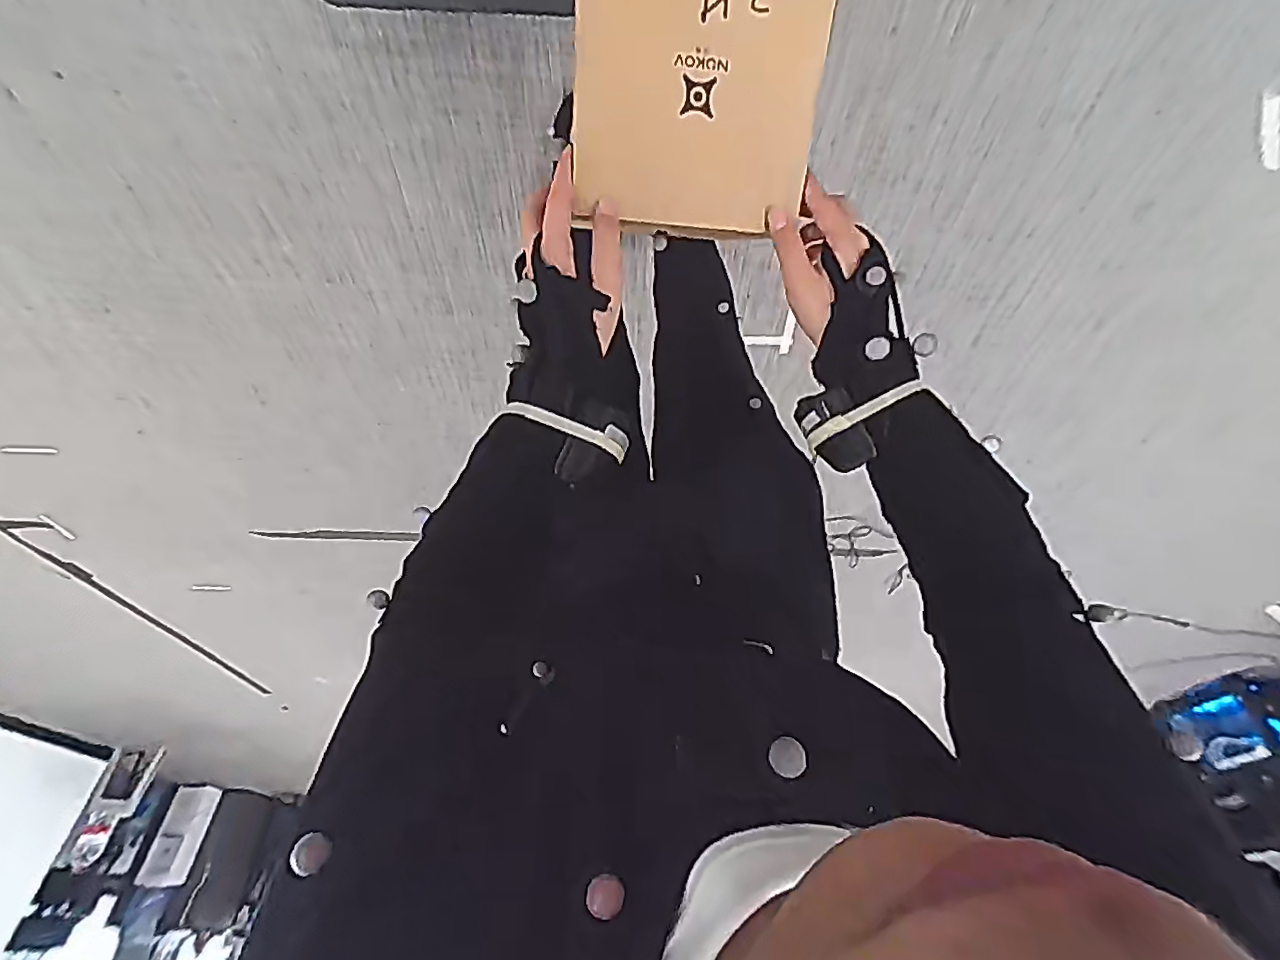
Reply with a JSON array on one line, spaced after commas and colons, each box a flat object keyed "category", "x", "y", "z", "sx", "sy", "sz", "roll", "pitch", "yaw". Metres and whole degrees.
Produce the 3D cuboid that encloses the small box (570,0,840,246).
[{"category": "small box", "x": 0.032, "y": -0.285, "z": 0.425, "sx": 0.168, "sy": 0.176, "sz": 0.179, "roll": 2, "pitch": 112, "yaw": -8}]
